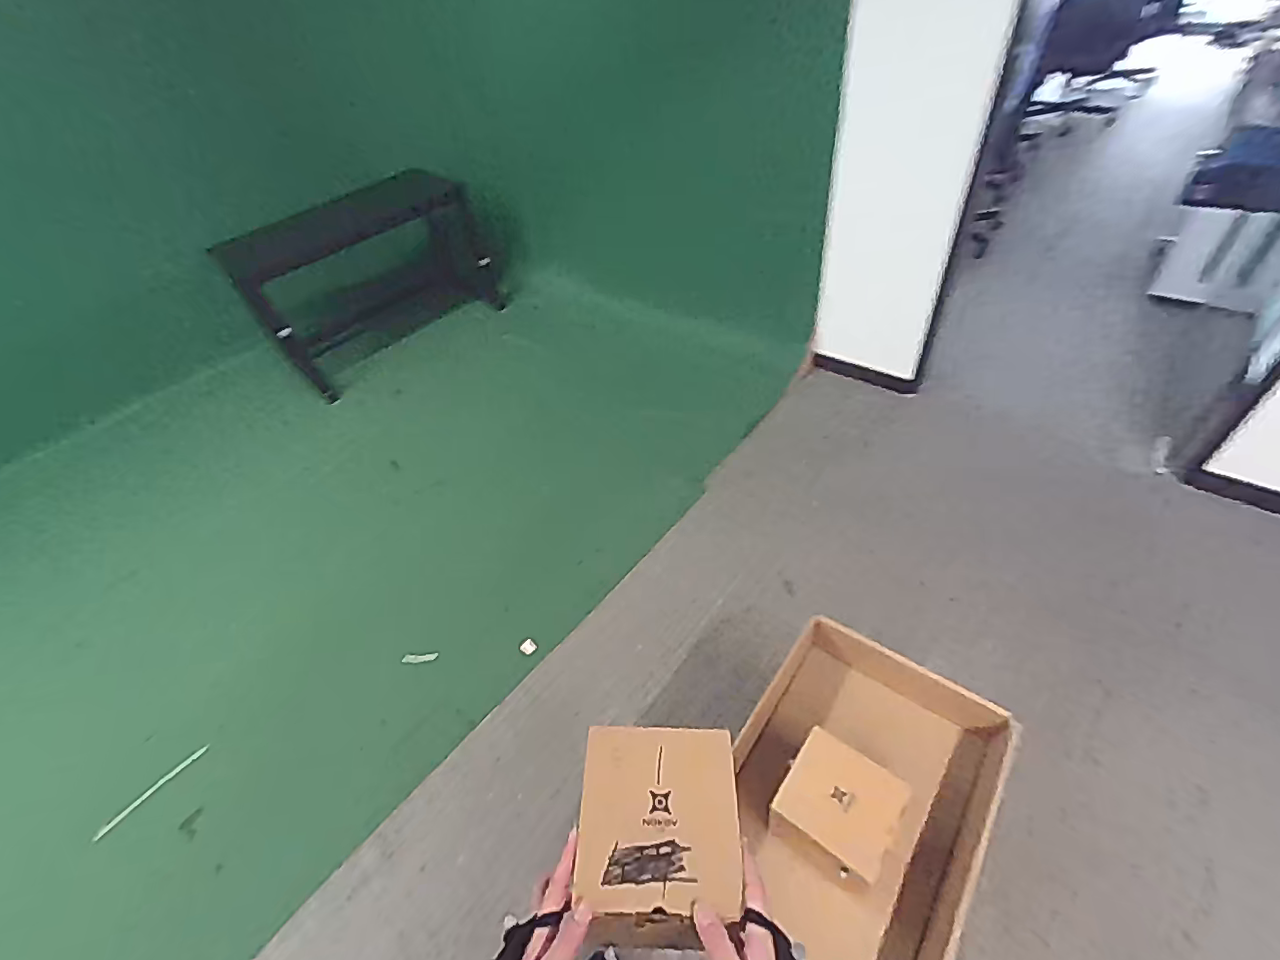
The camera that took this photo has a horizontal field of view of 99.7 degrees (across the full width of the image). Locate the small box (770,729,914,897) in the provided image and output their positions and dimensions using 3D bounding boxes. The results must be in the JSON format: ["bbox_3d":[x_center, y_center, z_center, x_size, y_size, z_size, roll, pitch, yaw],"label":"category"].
[{"bbox_3d":[0.341,0.583,0.942,0.179,0.176,0.168,26,55,30],"label":"small box"}]

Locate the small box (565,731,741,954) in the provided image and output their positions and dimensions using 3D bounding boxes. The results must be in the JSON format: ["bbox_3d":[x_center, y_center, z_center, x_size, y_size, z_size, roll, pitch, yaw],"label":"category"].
[{"bbox_3d":[0.014,0.405,0.606,0.168,0.176,0.179,1,40,0],"label":"small box"}]
